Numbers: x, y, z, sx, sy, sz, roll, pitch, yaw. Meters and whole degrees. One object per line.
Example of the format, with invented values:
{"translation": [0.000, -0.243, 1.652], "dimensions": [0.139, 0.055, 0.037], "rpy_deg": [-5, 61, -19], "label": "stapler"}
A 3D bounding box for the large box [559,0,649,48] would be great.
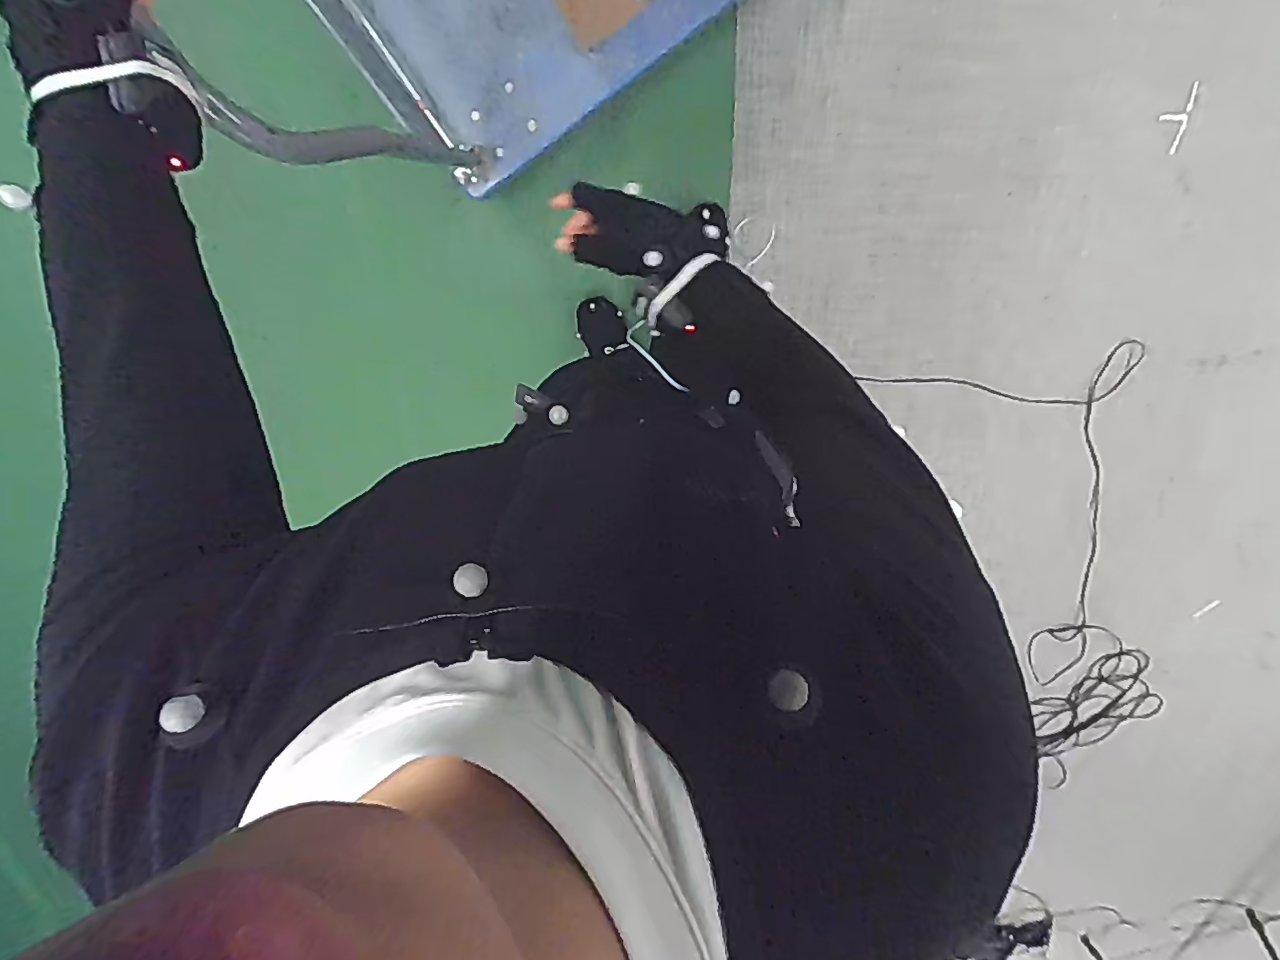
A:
{"translation": [-0.076, -0.925, 0.730], "dimensions": [0.320, 0.320, 0.408], "rpy_deg": [-29, 113, 14], "label": "large box"}
